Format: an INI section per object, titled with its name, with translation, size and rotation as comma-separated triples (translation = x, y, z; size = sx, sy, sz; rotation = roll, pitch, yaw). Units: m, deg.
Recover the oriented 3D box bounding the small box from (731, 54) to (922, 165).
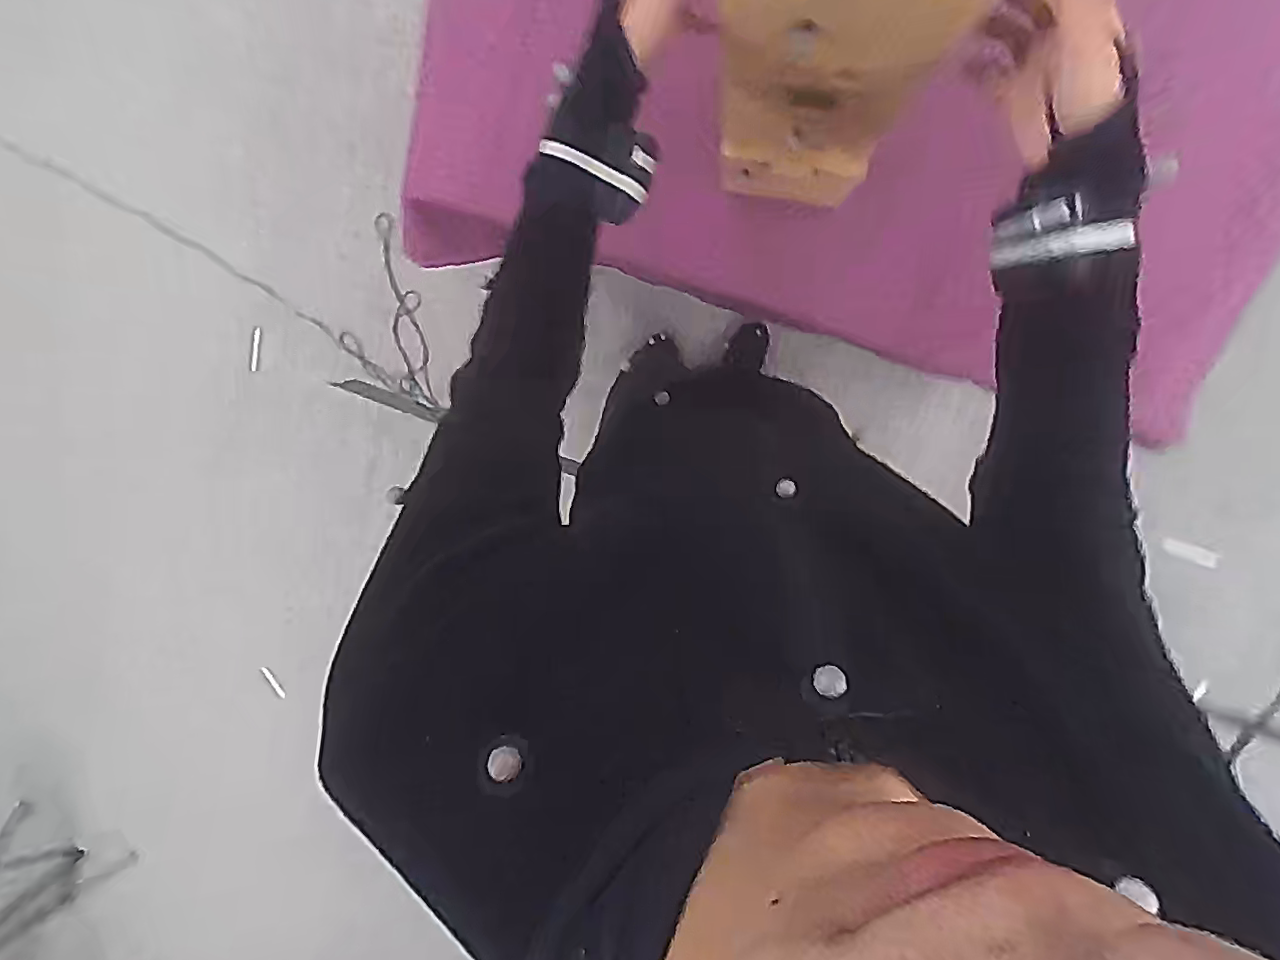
[small box]
translation = 0.184, -0.432, 0.513
size = 0.168, 0.176, 0.179
rotation = 14, 107, 6
